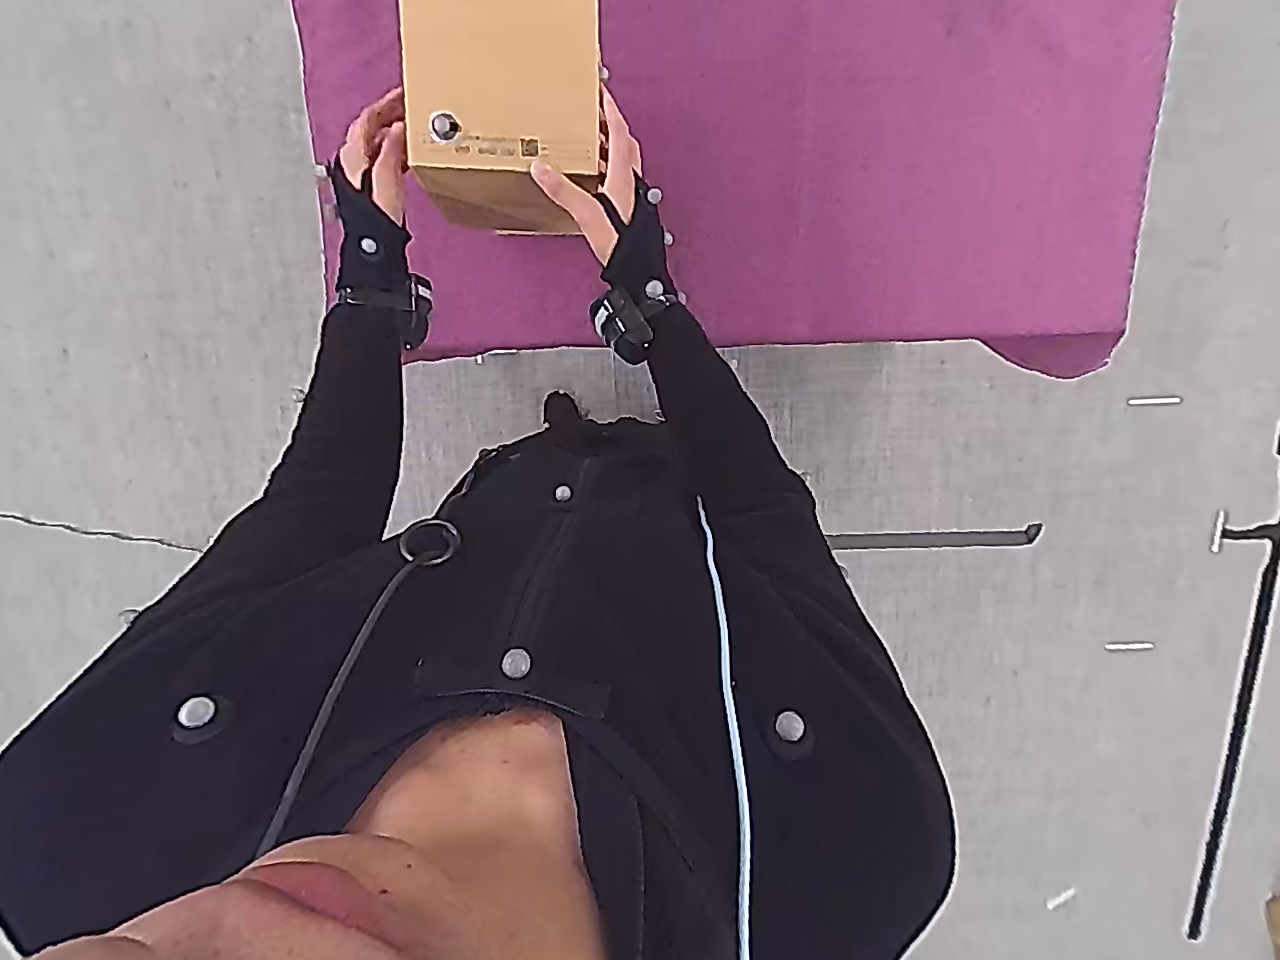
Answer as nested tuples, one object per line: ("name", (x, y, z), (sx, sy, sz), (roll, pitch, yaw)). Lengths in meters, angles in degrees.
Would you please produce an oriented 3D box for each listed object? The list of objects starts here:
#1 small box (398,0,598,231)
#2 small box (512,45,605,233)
("small box", (-0.128, -0.362, 0.541), (0.168, 0.179, 0.176), (-1, 98, -8))
("small box", (-0.132, -0.435, 0.713), (0.168, 0.176, 0.179), (1, 102, -2))
